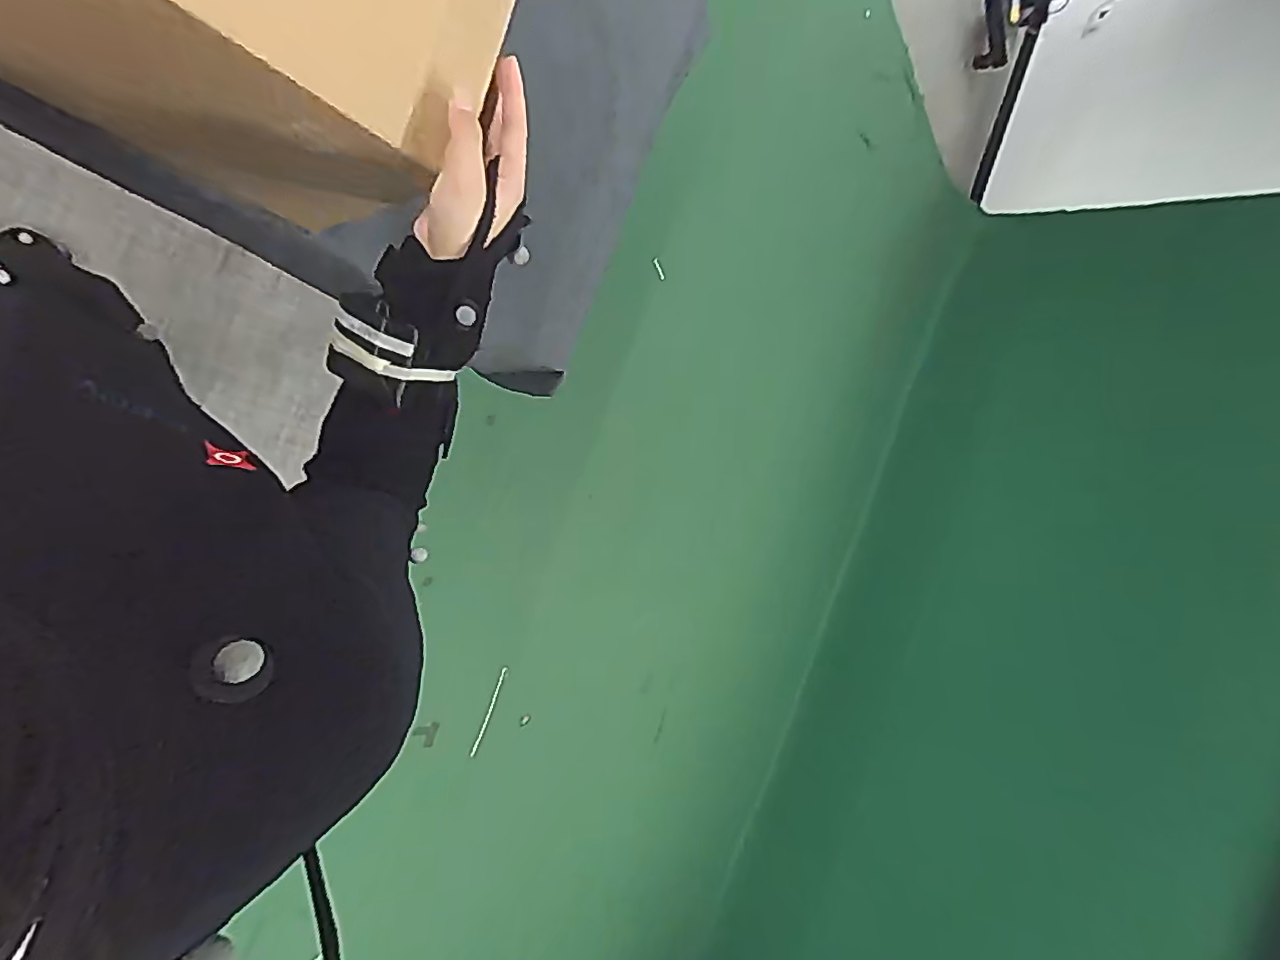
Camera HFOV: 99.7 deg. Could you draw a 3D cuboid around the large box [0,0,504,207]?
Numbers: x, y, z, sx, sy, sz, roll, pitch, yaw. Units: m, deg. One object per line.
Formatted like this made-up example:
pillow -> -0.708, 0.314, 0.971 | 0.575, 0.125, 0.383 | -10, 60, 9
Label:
large box -> -0.315, -0.424, 0.311 | 0.408, 0.320, 0.320 | 16, 92, -49
